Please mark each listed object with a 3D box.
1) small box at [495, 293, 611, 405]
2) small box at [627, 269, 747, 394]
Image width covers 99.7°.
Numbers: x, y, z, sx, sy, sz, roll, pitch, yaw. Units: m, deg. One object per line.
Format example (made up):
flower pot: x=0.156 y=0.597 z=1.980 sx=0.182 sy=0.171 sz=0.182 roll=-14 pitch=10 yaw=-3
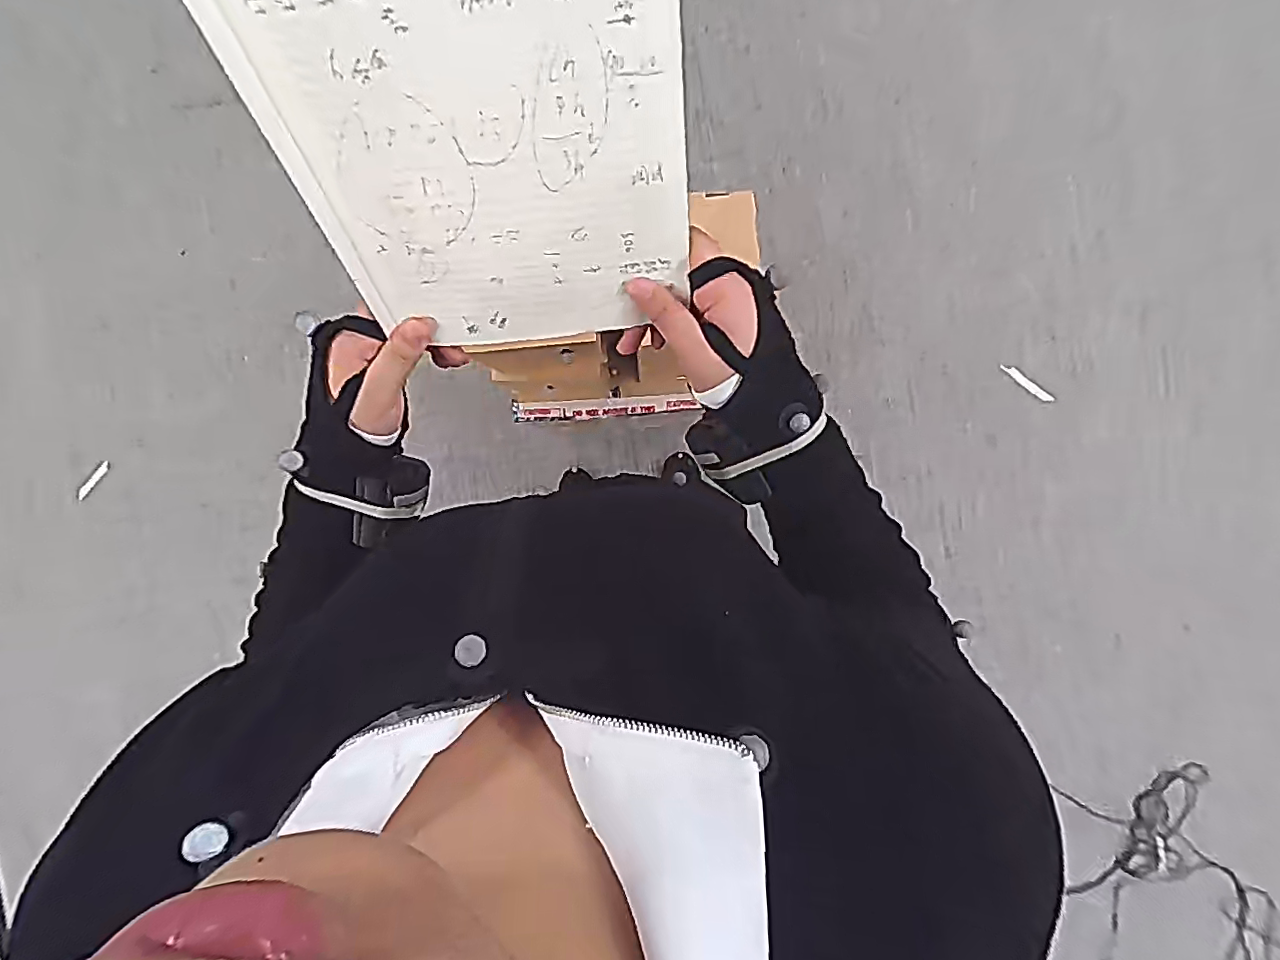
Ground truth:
small box: x=-0.142 y=-0.221 z=0.940 sx=0.179 sy=0.176 sz=0.168 roll=-1 pitch=94 yaw=3
small box: x=0.073 y=-0.248 z=0.937 sx=0.179 sy=0.176 sz=0.168 roll=-9 pitch=93 yaw=0
